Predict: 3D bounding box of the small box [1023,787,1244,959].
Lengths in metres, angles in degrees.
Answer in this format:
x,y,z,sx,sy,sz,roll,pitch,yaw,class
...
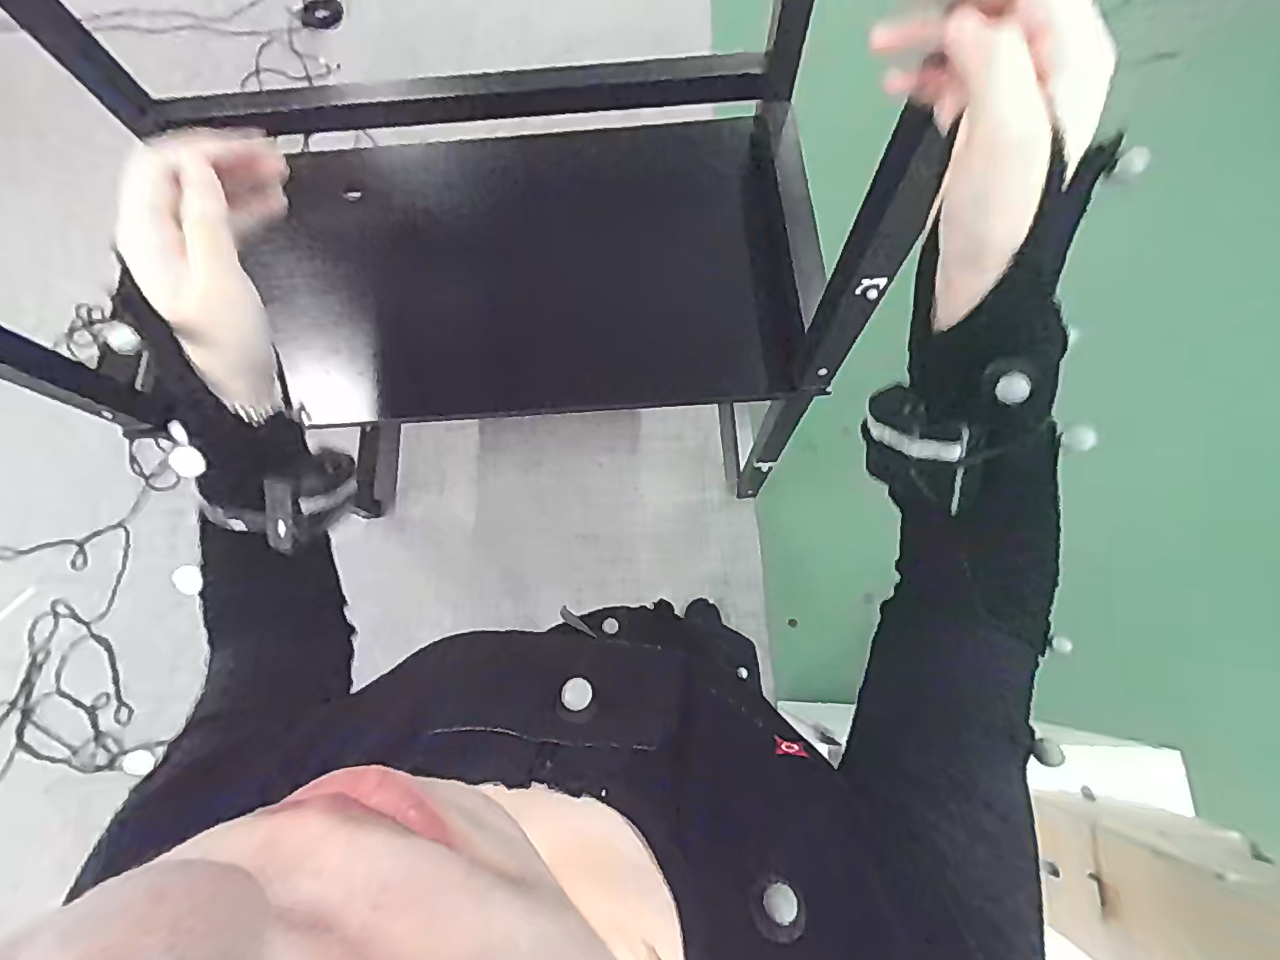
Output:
x,y,z,sx,sy,sz,roll,pitch,yaw,class
0.642,0.519,0.713,0.179,0.176,0.168,1,75,4,small box

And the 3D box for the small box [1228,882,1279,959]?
x,y,z,sx,sy,sz,roll,pitch,yaw,class
0.614,0.428,0.400,0.168,0.176,0.179,-3,75,3,small box

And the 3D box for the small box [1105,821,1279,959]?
x,y,z,sx,sy,sz,roll,pitch,yaw,class
0.629,0.478,0.556,0.168,0.176,0.179,4,75,4,small box
